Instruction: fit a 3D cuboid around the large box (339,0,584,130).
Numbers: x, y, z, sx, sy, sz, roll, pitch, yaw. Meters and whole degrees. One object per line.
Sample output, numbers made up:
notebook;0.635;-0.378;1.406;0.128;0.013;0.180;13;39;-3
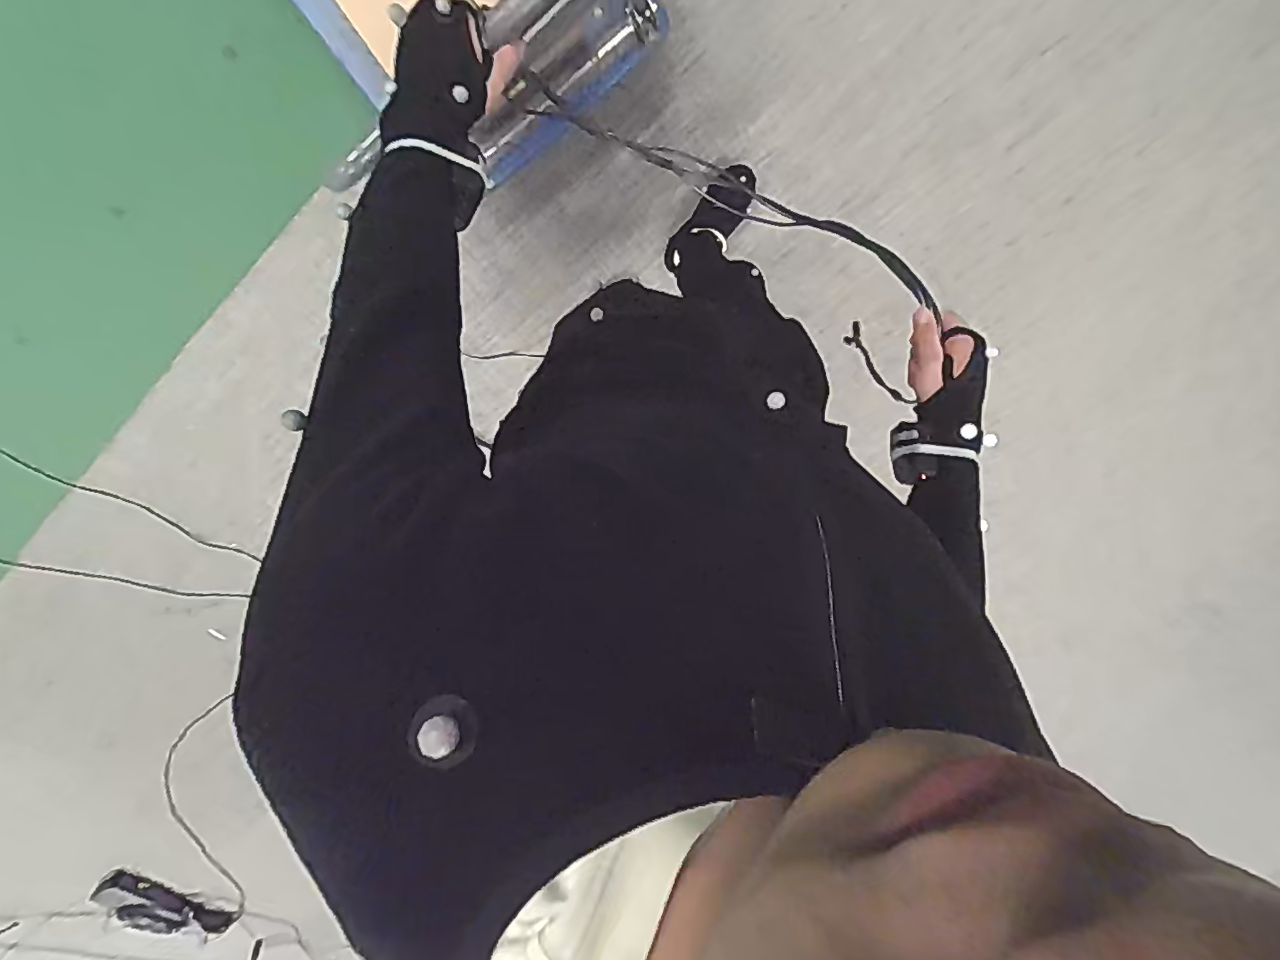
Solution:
large box;-0.338;-0.877;0.885;0.320;0.320;0.408;-31;114;13
